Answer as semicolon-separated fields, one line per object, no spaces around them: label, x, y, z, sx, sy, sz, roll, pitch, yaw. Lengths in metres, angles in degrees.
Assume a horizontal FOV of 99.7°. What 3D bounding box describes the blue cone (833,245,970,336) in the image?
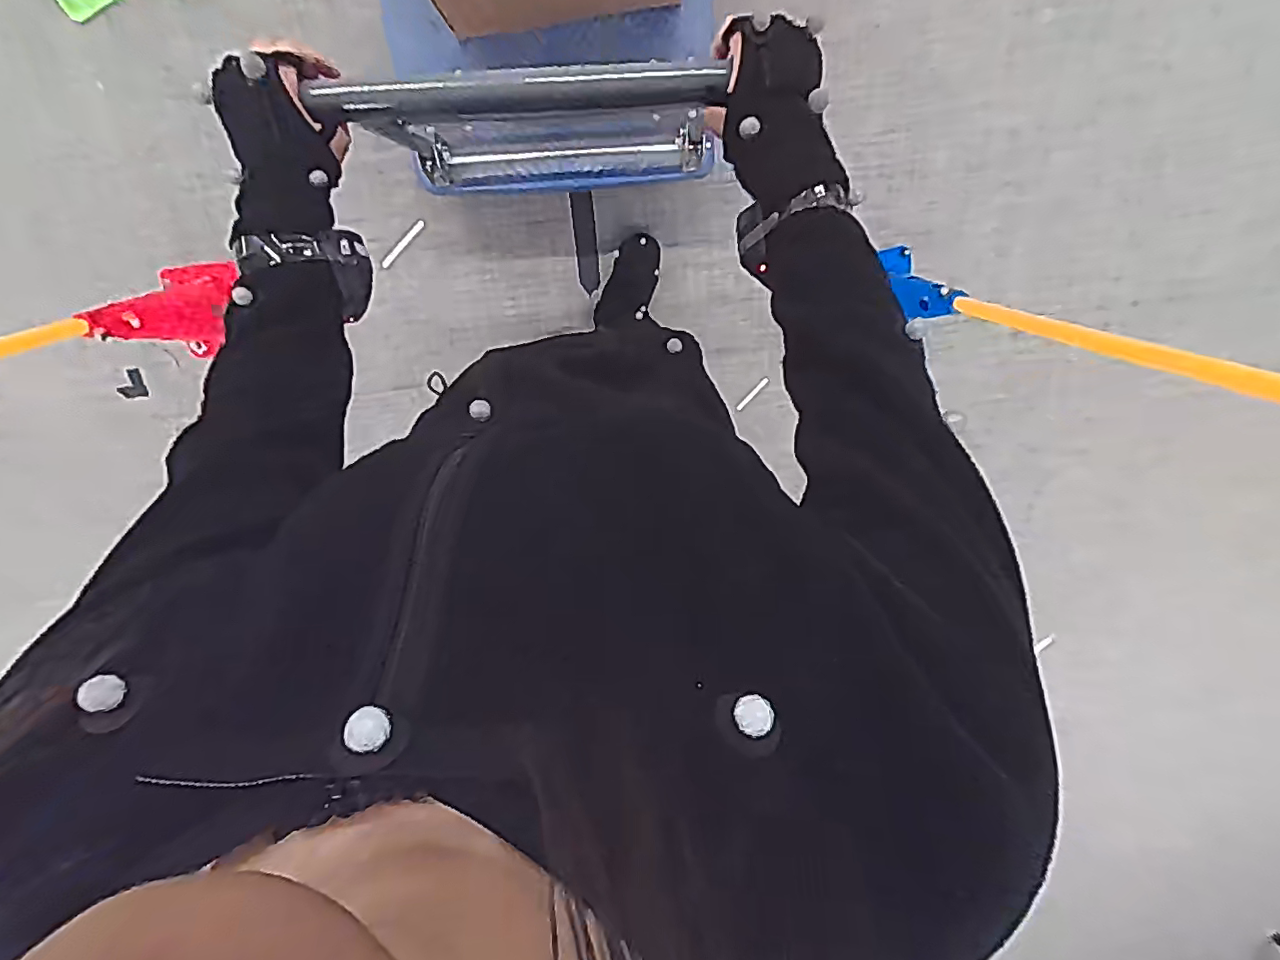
blue cone;0.579;-0.402;1.166;0.193;0.380;0.192;-10;110;0
